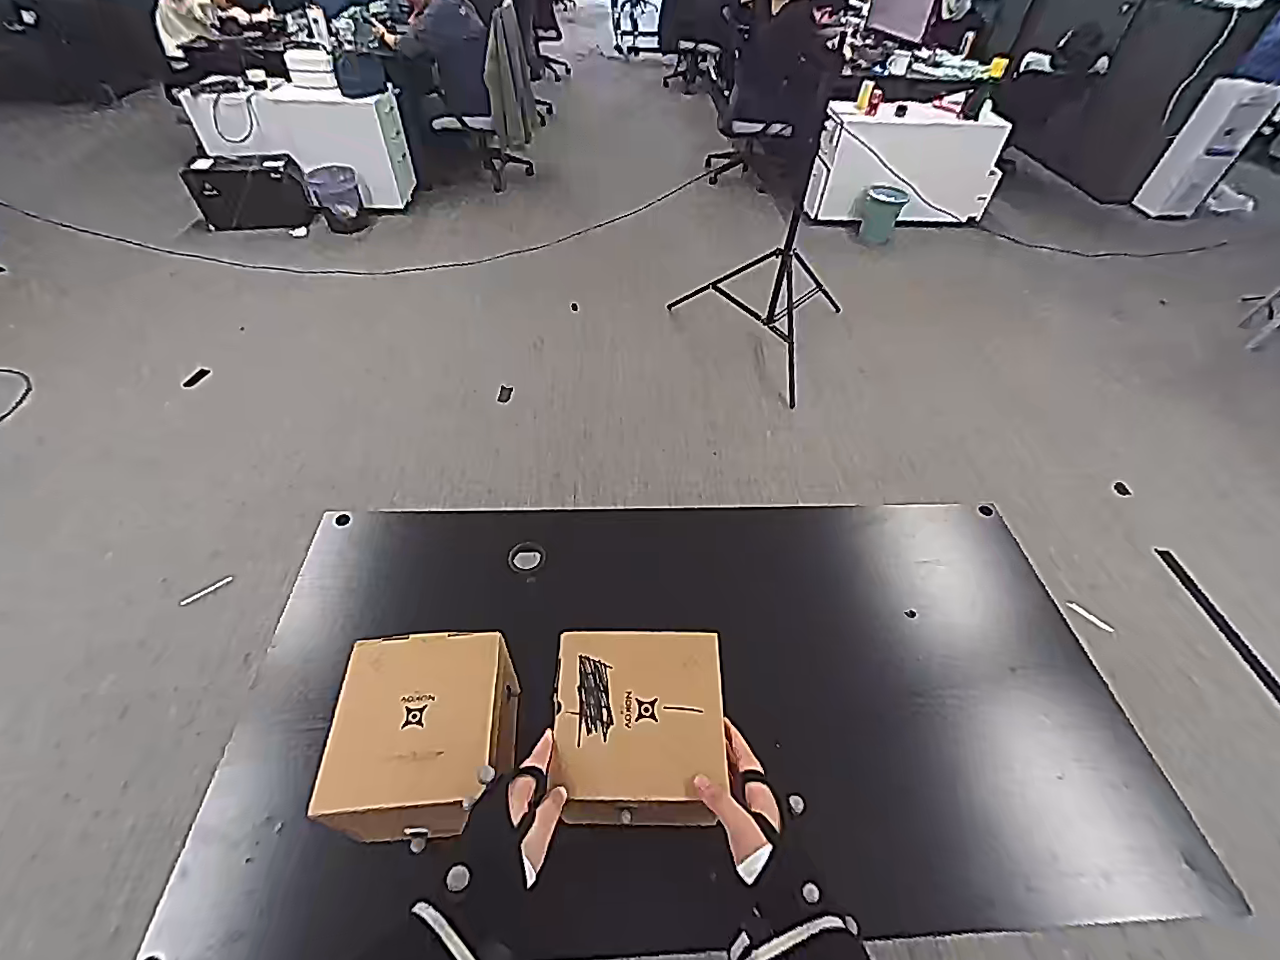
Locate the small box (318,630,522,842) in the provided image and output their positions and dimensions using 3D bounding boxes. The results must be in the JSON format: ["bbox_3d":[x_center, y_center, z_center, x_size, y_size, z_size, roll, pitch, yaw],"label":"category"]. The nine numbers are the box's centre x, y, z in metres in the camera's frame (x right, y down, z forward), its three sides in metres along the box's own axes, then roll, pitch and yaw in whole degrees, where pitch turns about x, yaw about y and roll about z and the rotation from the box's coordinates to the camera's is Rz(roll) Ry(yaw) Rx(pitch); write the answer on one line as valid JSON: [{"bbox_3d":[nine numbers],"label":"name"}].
[{"bbox_3d":[-0.234,0.297,0.629,0.168,0.176,0.179,-4,49,-5],"label":"small box"}]
